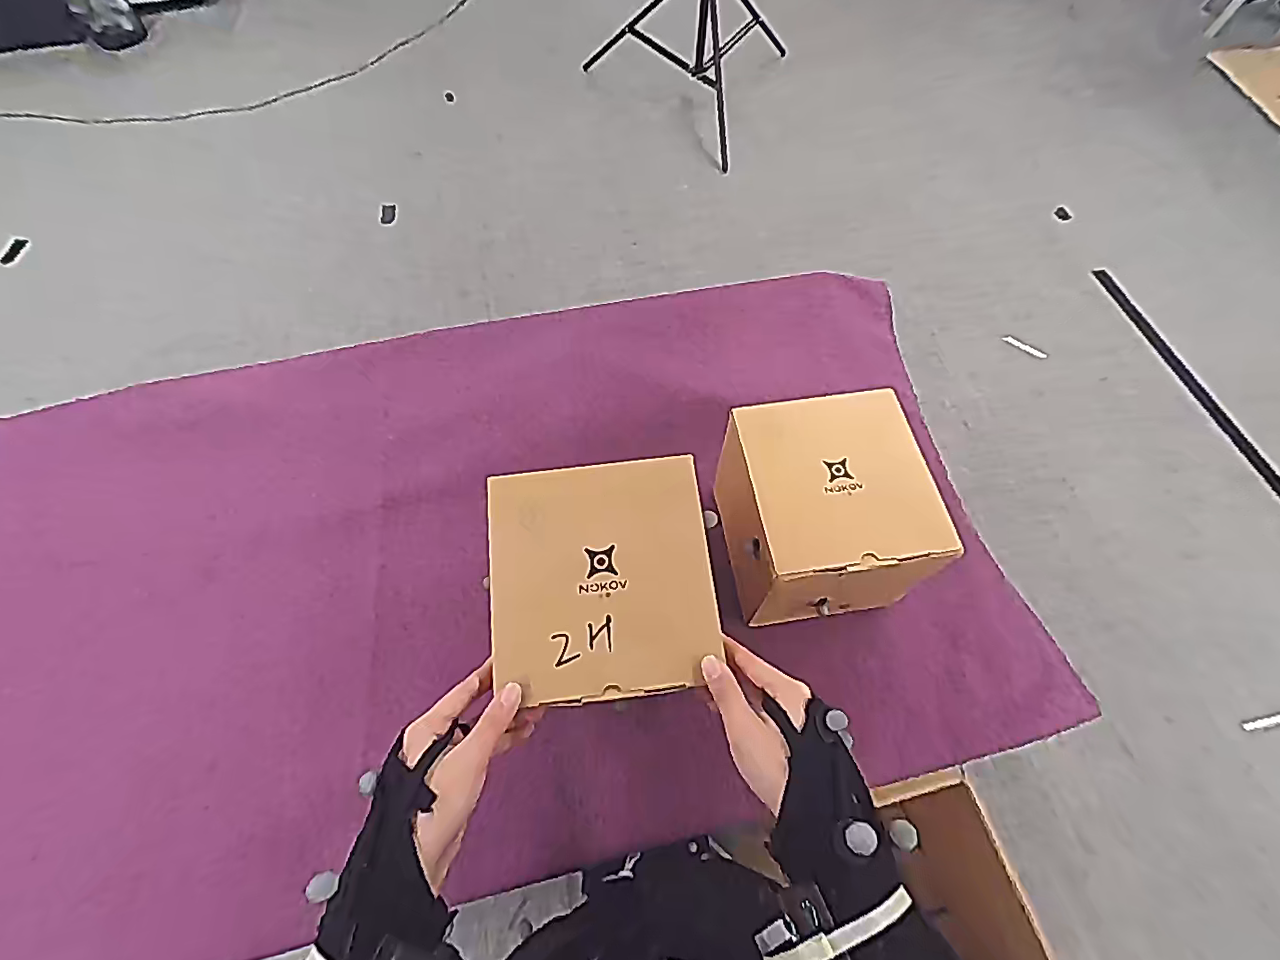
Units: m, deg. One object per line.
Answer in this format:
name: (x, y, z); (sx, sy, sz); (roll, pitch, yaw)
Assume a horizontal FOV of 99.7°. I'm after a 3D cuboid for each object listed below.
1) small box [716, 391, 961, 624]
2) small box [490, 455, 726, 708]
small box: (0.181, 0.034, 0.562); (0.168, 0.176, 0.179); (-9, 62, -3)
small box: (-0.029, 0.096, 0.480); (0.168, 0.176, 0.179); (-7, 71, -2)
